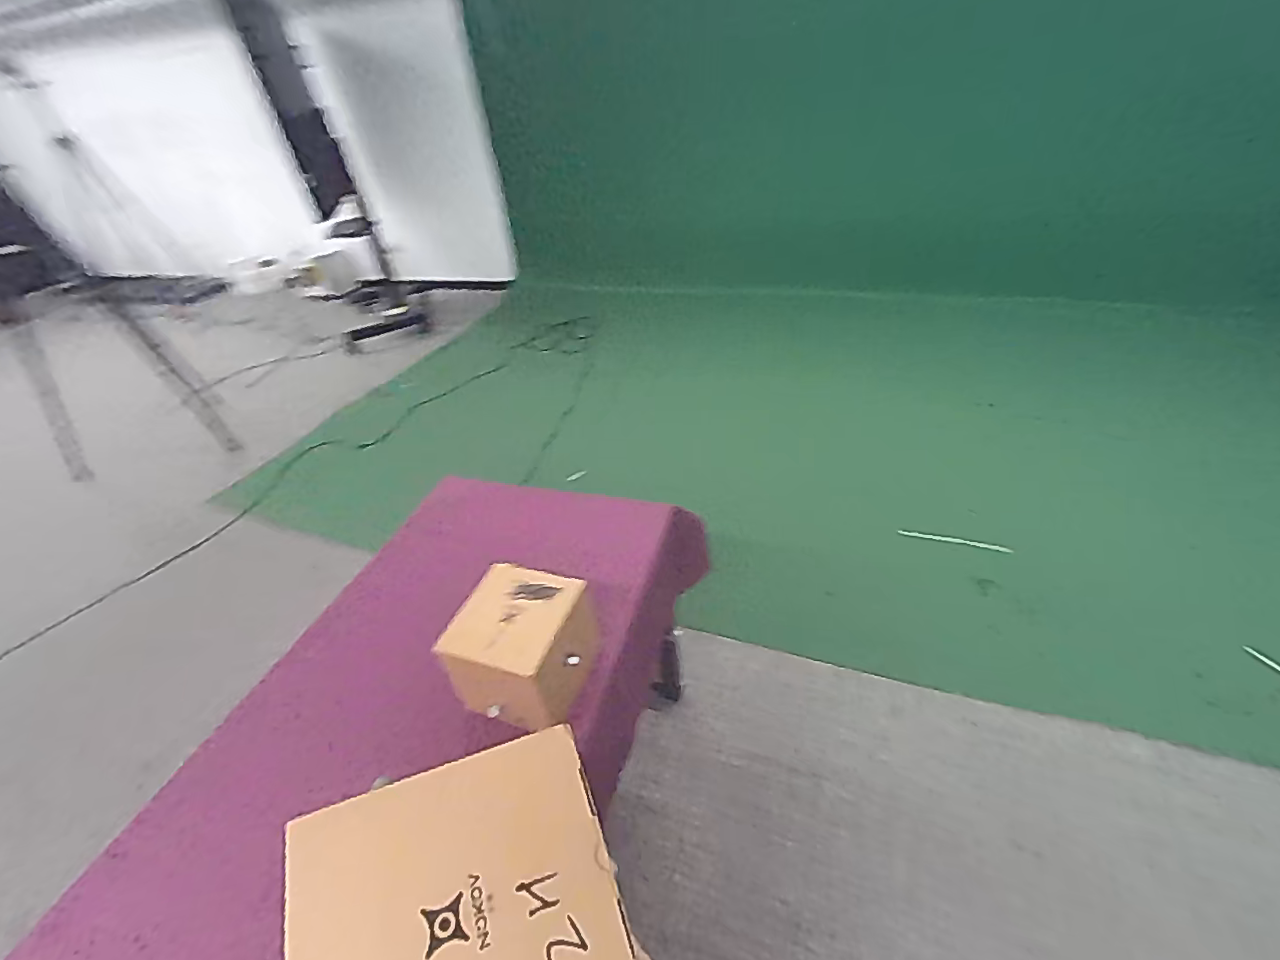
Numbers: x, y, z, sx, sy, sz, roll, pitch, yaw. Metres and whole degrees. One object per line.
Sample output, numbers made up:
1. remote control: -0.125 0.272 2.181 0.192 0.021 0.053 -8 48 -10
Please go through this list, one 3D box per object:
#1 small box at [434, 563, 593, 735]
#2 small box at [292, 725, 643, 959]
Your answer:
1. small box: -0.184 0.262 0.852 0.168 0.176 0.179 7 41 19
2. small box: -0.104 0.295 0.361 0.179 0.176 0.168 -12 53 -18
